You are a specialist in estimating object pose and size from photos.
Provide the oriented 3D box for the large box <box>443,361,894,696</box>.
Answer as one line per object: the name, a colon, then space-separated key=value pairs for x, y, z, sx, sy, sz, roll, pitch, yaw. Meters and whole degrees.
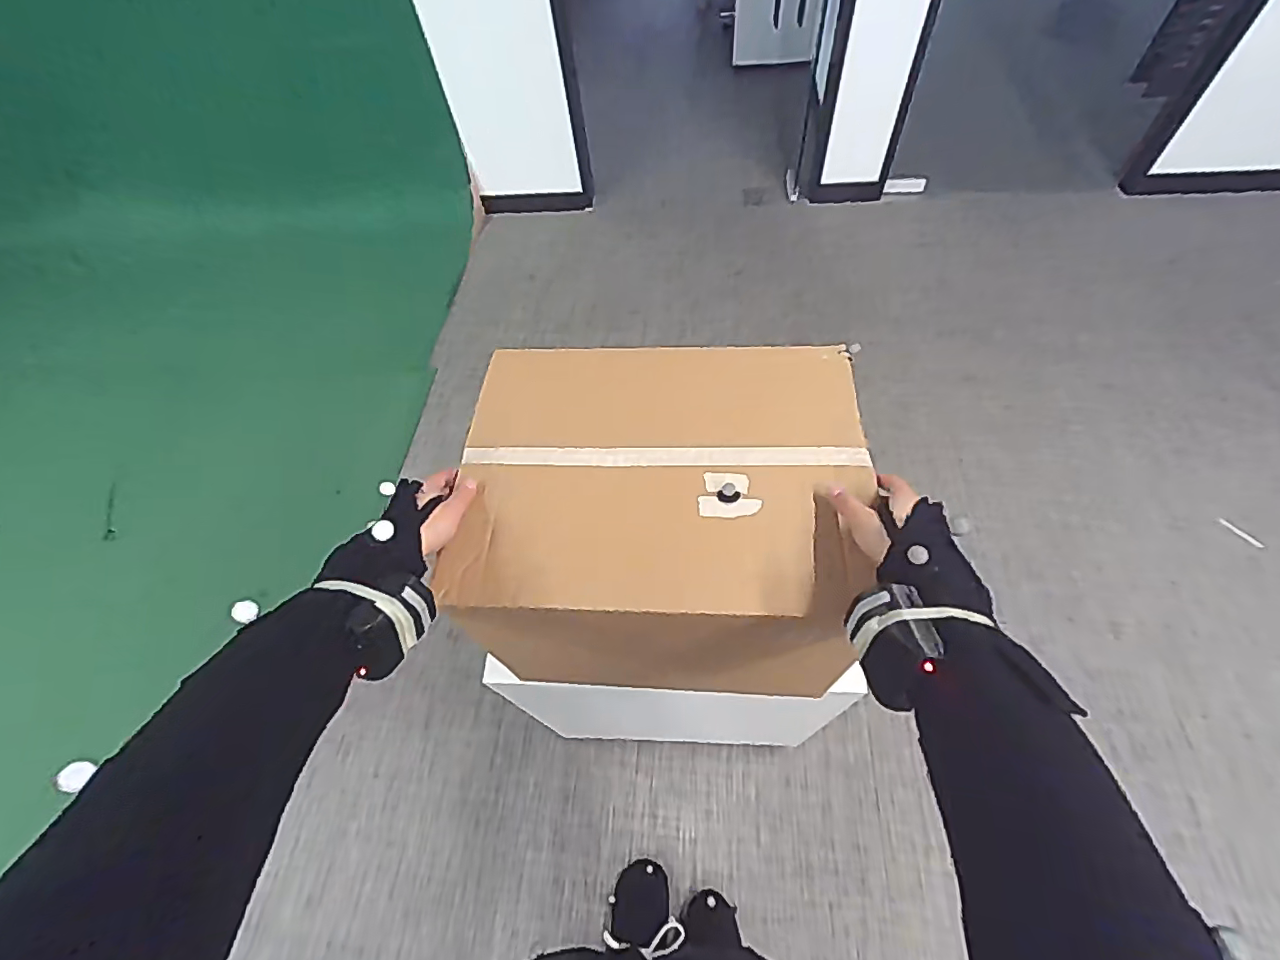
large box: x=0.032 y=0.071 z=0.673 sx=0.408 sy=0.320 sz=0.320 roll=1 pitch=57 yaw=4
